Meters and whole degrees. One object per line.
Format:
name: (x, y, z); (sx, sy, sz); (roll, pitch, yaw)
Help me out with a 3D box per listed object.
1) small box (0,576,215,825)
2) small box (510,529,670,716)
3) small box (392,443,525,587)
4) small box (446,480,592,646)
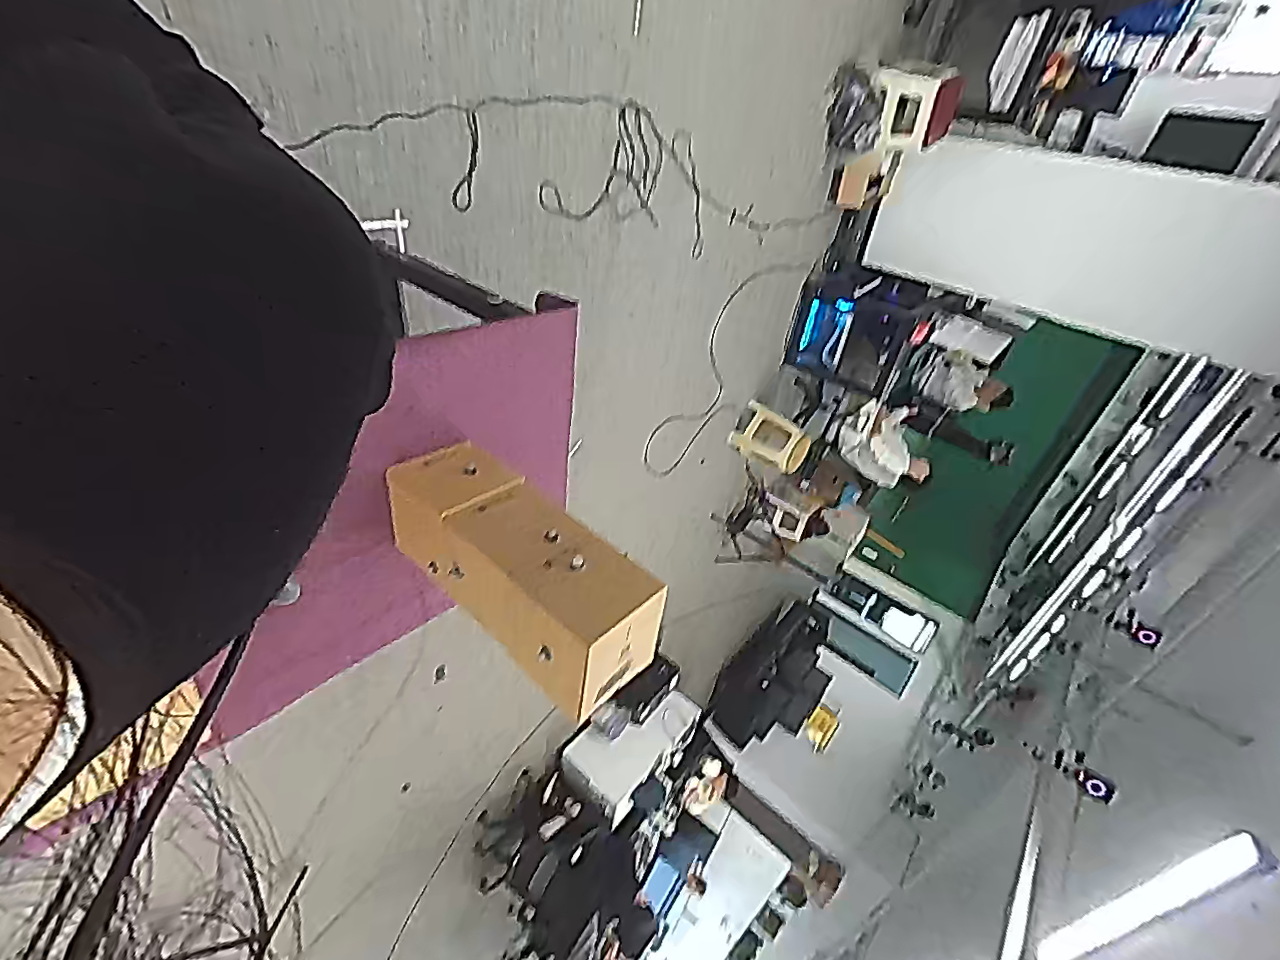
small box: (-0.652, 0.250, 0.647); (0.168, 0.176, 0.179); (-26, 137, -47)
small box: (-0.081, 0.206, 0.818); (0.168, 0.176, 0.179); (-29, 139, -43)
small box: (-0.326, 0.051, 0.975); (0.168, 0.176, 0.179); (-29, 140, -43)
small box: (-0.203, 0.130, 0.901); (0.168, 0.176, 0.179); (-30, 141, -42)
